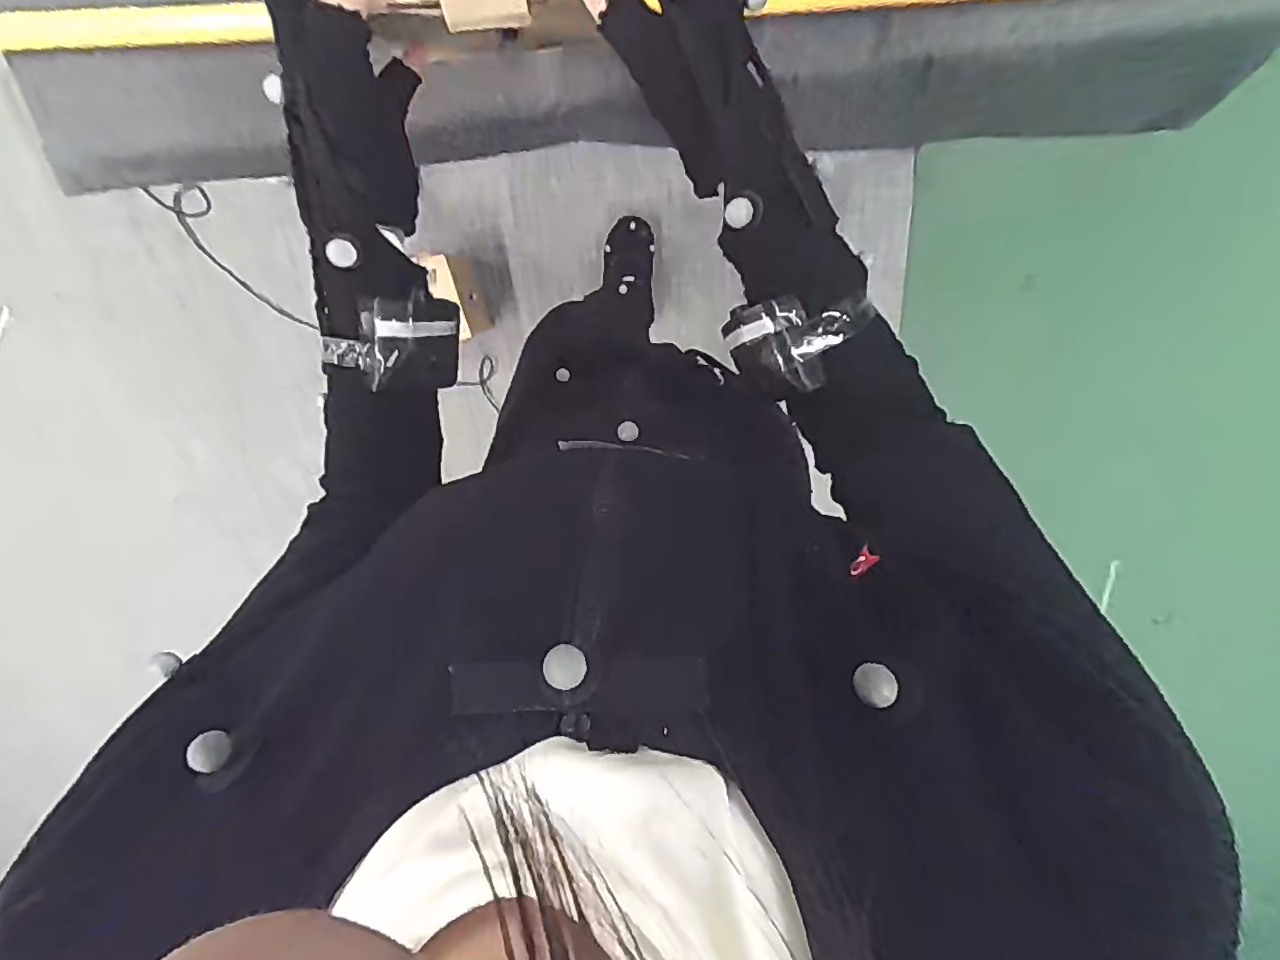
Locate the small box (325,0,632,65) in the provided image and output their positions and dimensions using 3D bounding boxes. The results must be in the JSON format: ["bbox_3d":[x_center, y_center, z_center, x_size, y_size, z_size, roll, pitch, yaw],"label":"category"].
[{"bbox_3d":[-0.095,-0.360,0.309,0.168,0.176,0.179,-8,121,3],"label":"small box"}]

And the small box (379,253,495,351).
[{"bbox_3d":[-0.450,-0.408,1.230,0.168,0.176,0.179,-11,112,7],"label":"small box"}]
